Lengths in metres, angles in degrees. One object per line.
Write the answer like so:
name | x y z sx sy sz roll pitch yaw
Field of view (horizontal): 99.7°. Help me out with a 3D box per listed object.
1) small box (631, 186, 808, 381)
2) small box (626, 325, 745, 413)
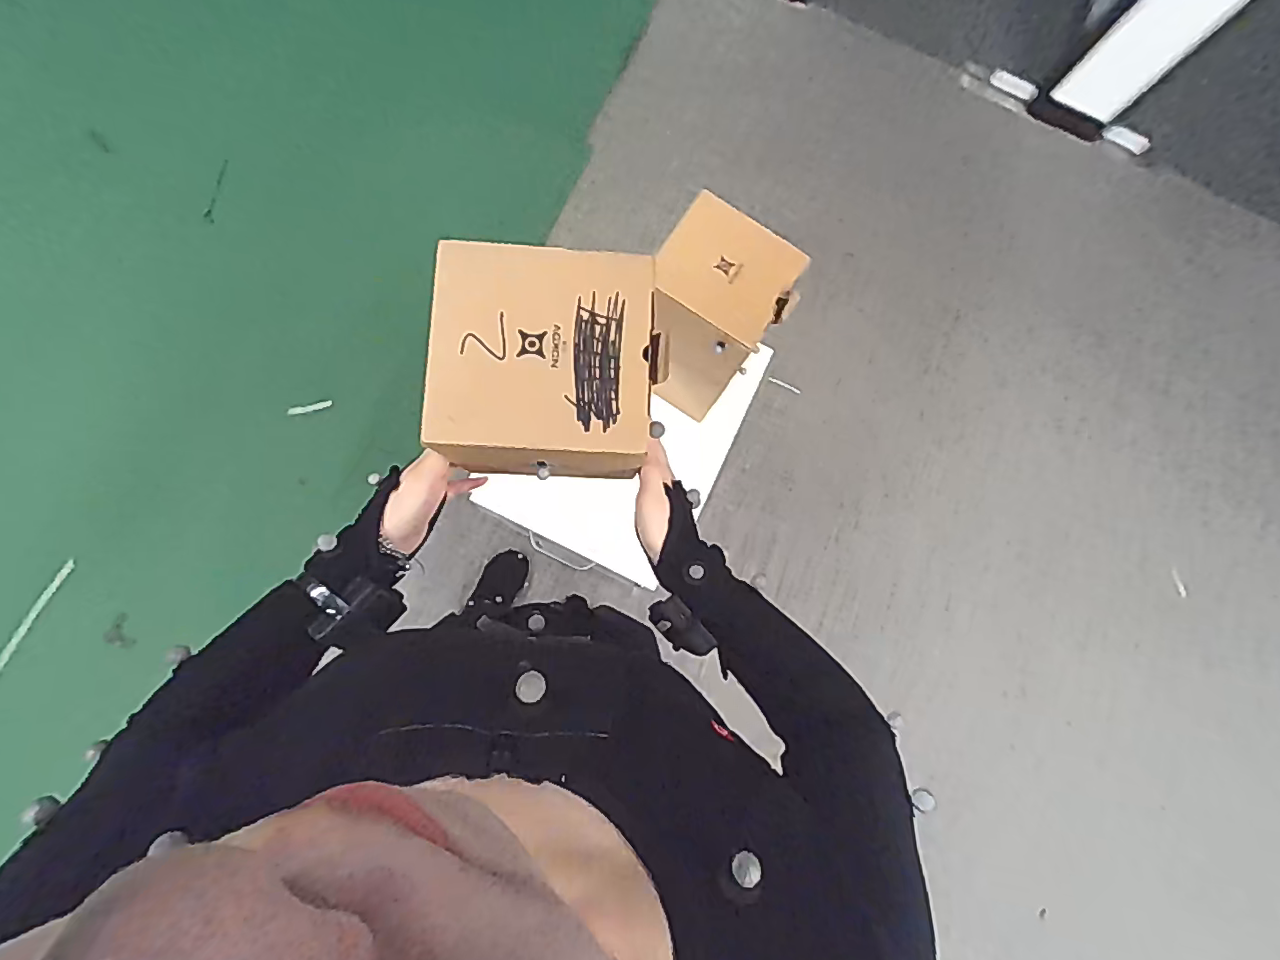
small box | 0.102 -0.270 0.787 0.179 0.176 0.168 33 77 -1
small box | 0.089 -0.242 0.947 0.179 0.176 0.168 34 78 1
